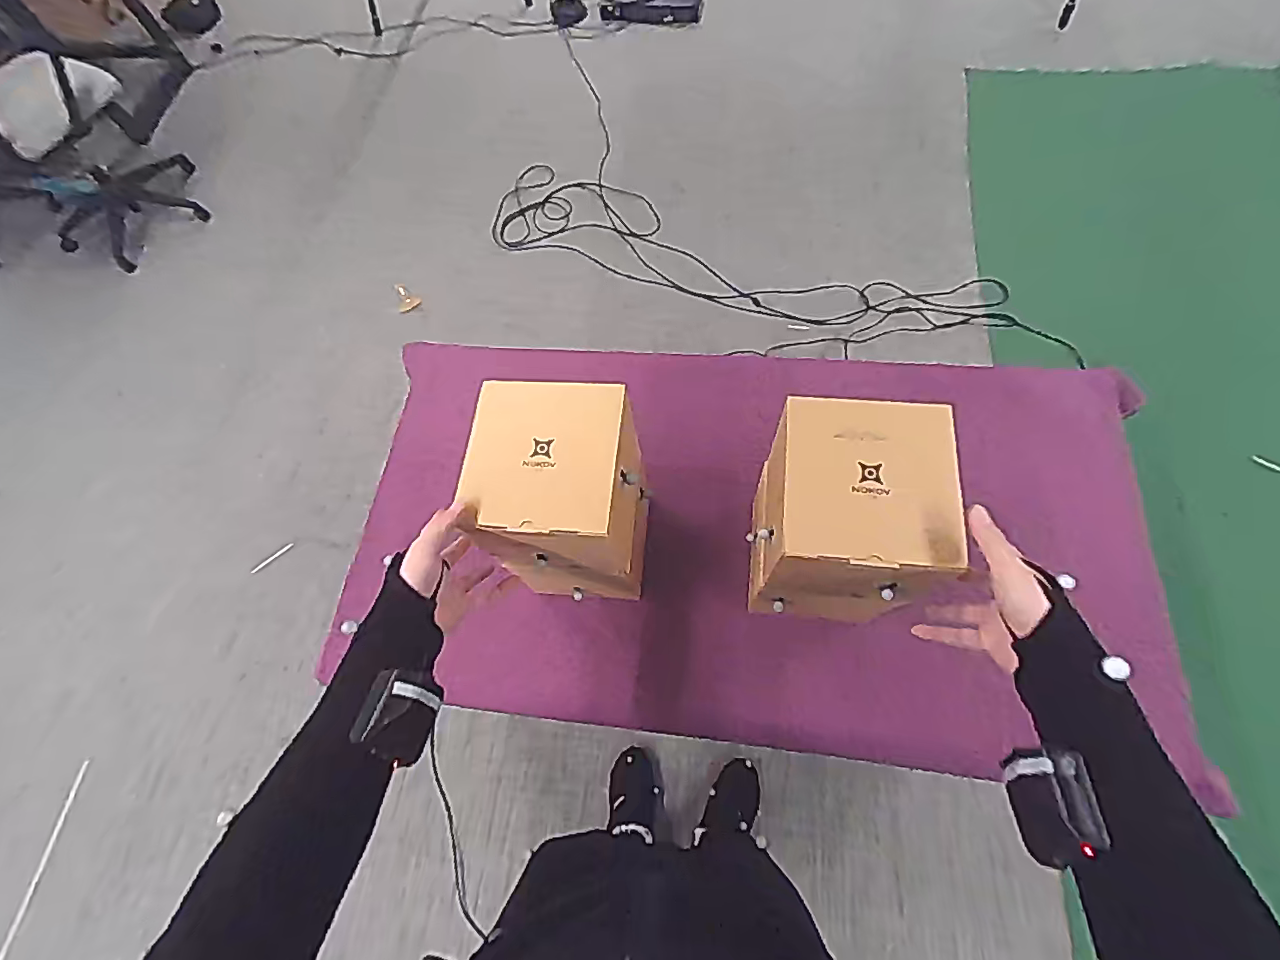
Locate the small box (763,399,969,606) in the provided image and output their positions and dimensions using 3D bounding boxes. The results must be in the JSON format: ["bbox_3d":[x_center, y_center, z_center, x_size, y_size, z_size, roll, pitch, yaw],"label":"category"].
[{"bbox_3d":[0.229,0.033,0.591,0.168,0.176,0.179,5,67,7],"label":"small box"}]

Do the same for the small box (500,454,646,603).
[{"bbox_3d":[-0.083,0.070,0.783,0.168,0.176,0.179,3,67,7],"label":"small box"}]

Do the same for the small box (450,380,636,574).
[{"bbox_3d":[-0.097,0.003,0.636,0.168,0.176,0.179,3,69,6],"label":"small box"}]
